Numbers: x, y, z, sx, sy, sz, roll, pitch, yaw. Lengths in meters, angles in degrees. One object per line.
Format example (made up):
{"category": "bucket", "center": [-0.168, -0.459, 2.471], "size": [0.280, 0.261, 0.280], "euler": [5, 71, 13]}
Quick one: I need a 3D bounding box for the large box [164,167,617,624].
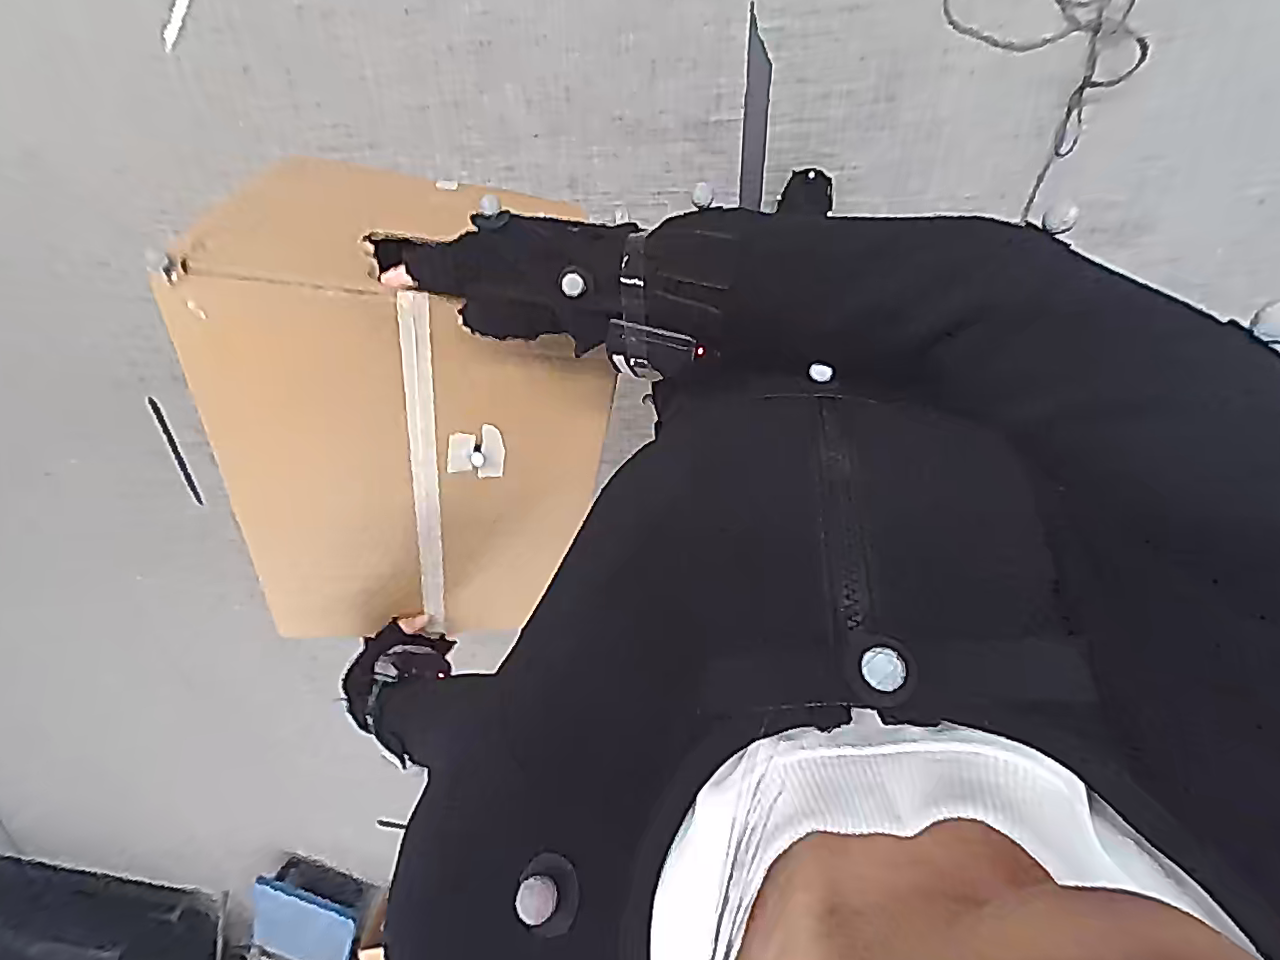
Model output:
{"category": "large box", "center": [-0.223, -0.085, 0.622], "size": [0.320, 0.320, 0.408], "euler": [1, 129, -16]}
